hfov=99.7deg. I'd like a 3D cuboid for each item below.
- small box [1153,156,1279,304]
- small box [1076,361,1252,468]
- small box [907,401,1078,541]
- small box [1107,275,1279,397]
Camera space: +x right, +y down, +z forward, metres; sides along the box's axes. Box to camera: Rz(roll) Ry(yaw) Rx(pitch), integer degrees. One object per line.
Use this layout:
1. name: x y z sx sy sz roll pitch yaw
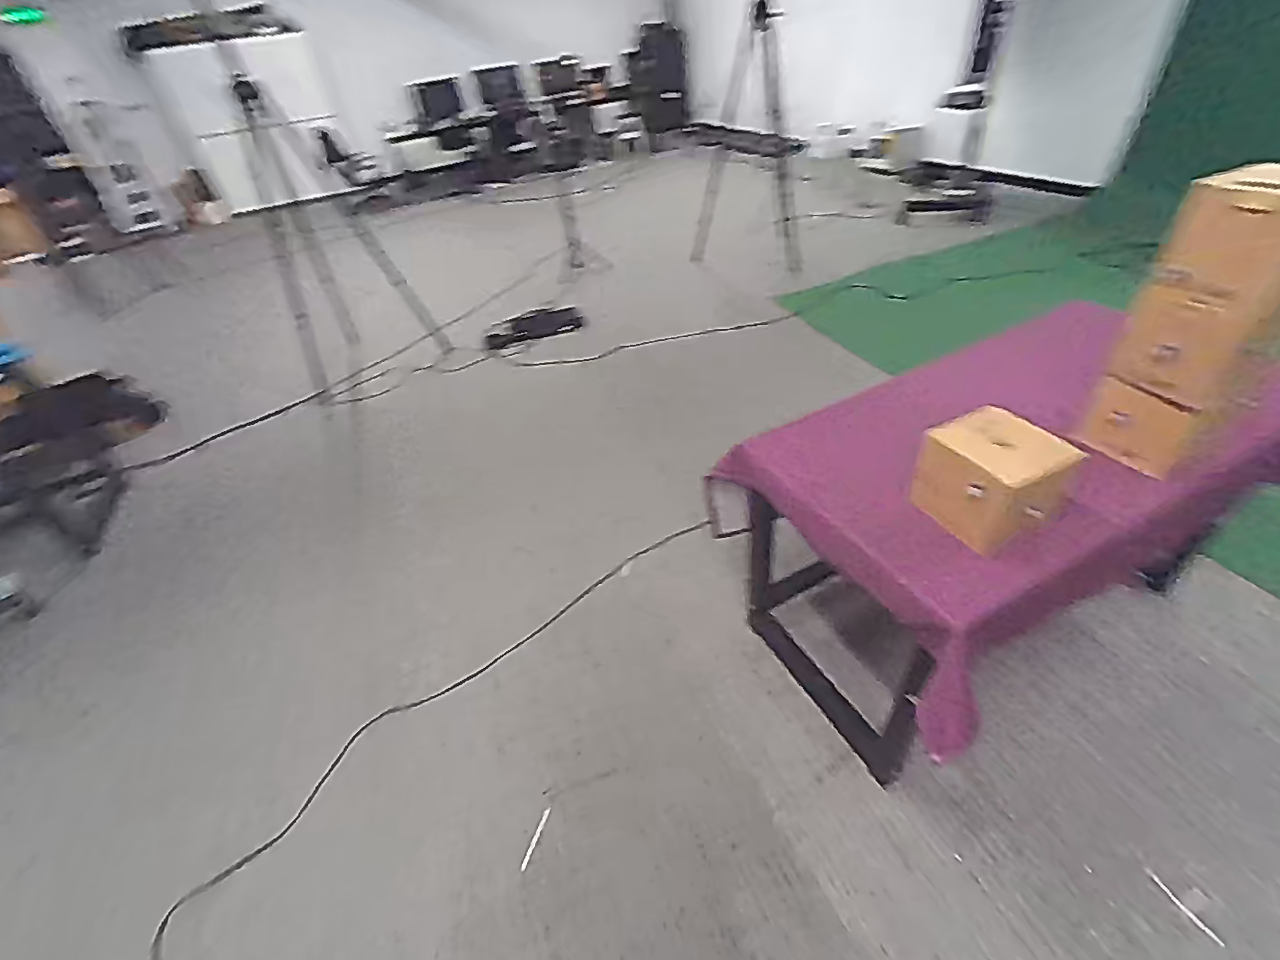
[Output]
1. small box: 0.980 -0.397 0.858 0.179 0.176 0.168 -19 41 -14
2. small box: 1.018 -0.149 1.072 0.179 0.176 0.168 -22 42 -15
3. small box: 0.623 -0.011 0.981 0.168 0.176 0.179 -21 42 -14
4. small box: 0.992 -0.271 0.964 0.179 0.176 0.168 -20 42 -12
